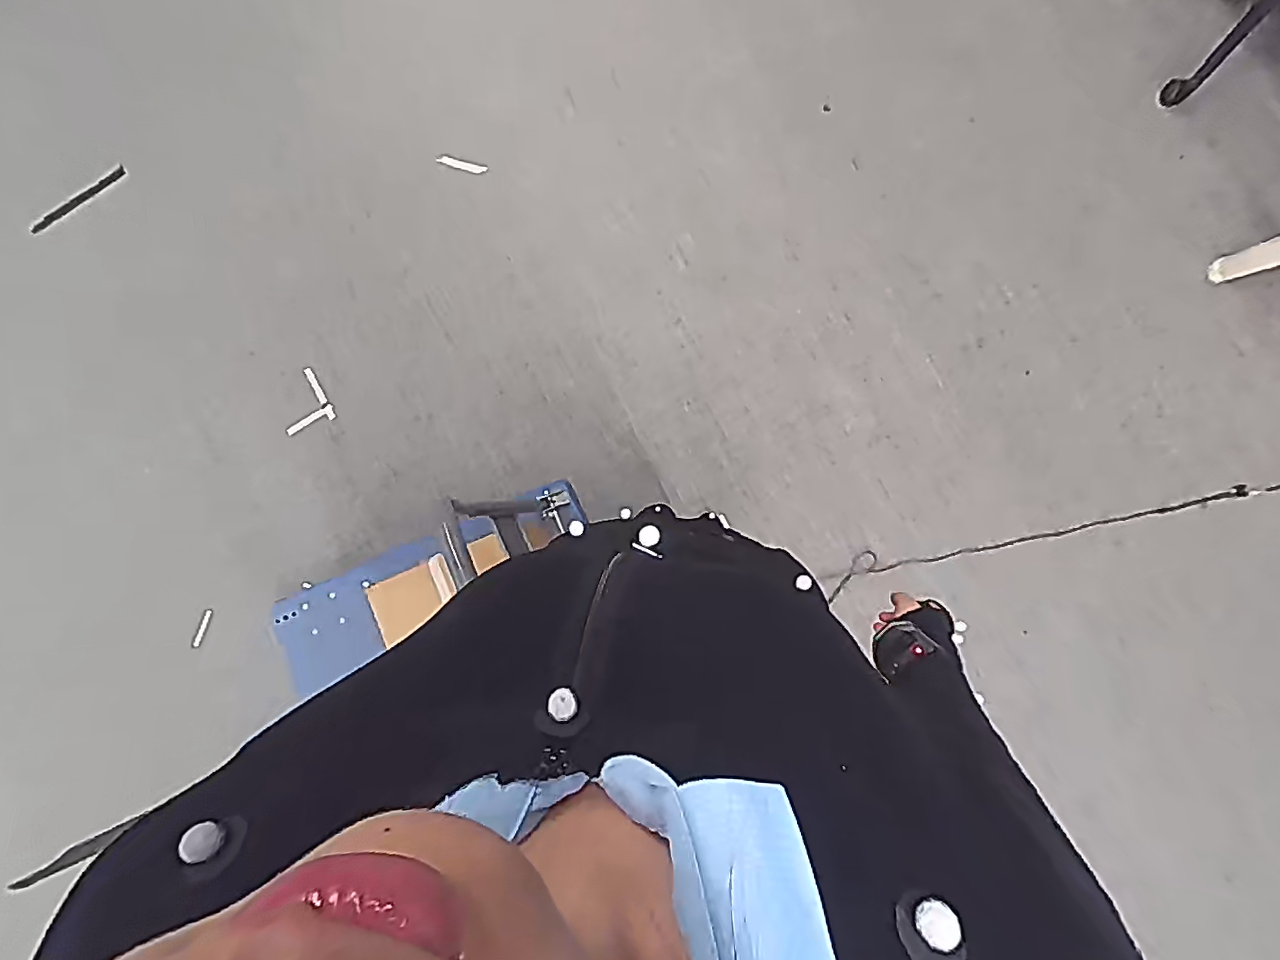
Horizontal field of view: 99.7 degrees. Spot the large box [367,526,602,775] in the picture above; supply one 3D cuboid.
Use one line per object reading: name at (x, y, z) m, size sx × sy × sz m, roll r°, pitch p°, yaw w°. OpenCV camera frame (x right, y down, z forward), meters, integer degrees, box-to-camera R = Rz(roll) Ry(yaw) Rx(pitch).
large box at (-0.319, 0.346, 1.206) m, size 0.320 × 0.320 × 0.408 m, roll -23°, pitch 86°, yaw 4°
